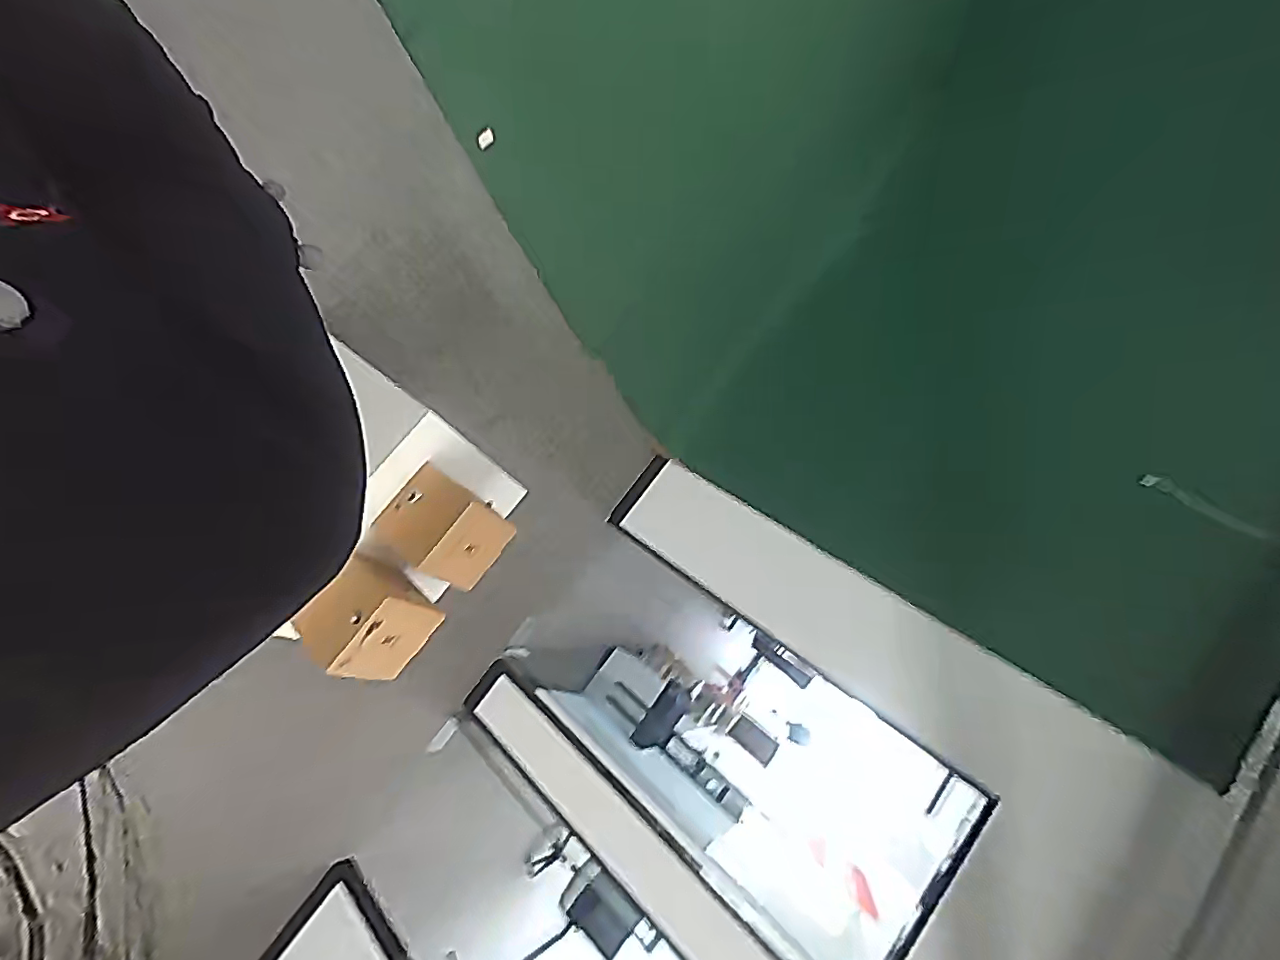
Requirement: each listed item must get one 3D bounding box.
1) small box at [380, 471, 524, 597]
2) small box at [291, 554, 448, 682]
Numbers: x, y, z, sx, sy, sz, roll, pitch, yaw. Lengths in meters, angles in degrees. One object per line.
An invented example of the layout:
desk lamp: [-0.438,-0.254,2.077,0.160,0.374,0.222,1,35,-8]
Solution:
small box: [-0.377,0.108,1.093,0.168,0.176,0.179,-53,150,-8]
small box: [-0.523,0.267,1.054,0.168,0.176,0.179,-52,152,-9]
